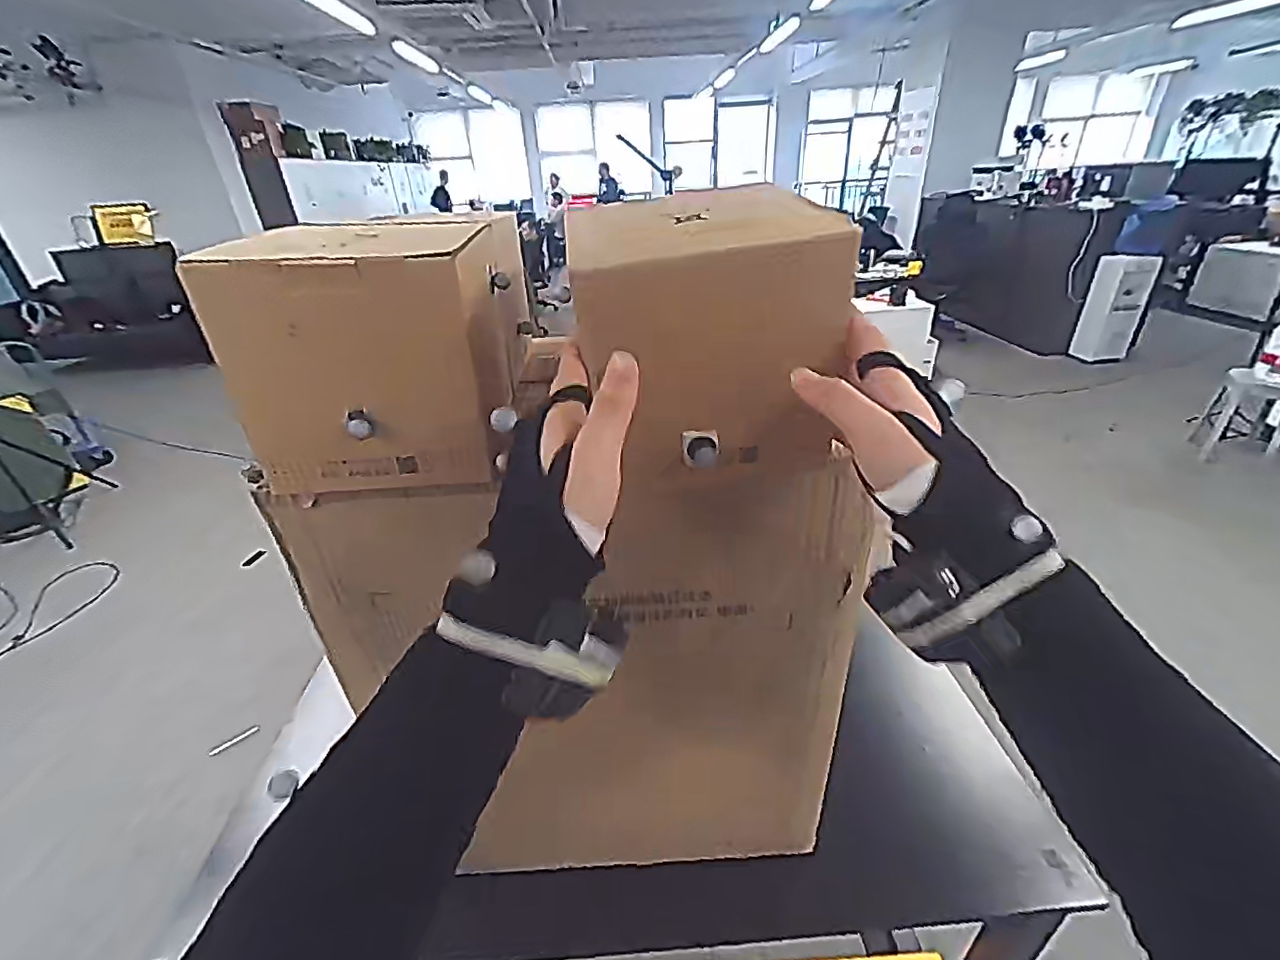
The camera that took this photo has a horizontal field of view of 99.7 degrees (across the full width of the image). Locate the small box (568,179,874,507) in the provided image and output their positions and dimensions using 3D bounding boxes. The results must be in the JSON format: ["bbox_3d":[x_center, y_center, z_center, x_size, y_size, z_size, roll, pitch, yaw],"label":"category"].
[{"bbox_3d":[0.043,-0.105,0.399,0.168,0.176,0.179,-10,39,-2],"label":"small box"}]
